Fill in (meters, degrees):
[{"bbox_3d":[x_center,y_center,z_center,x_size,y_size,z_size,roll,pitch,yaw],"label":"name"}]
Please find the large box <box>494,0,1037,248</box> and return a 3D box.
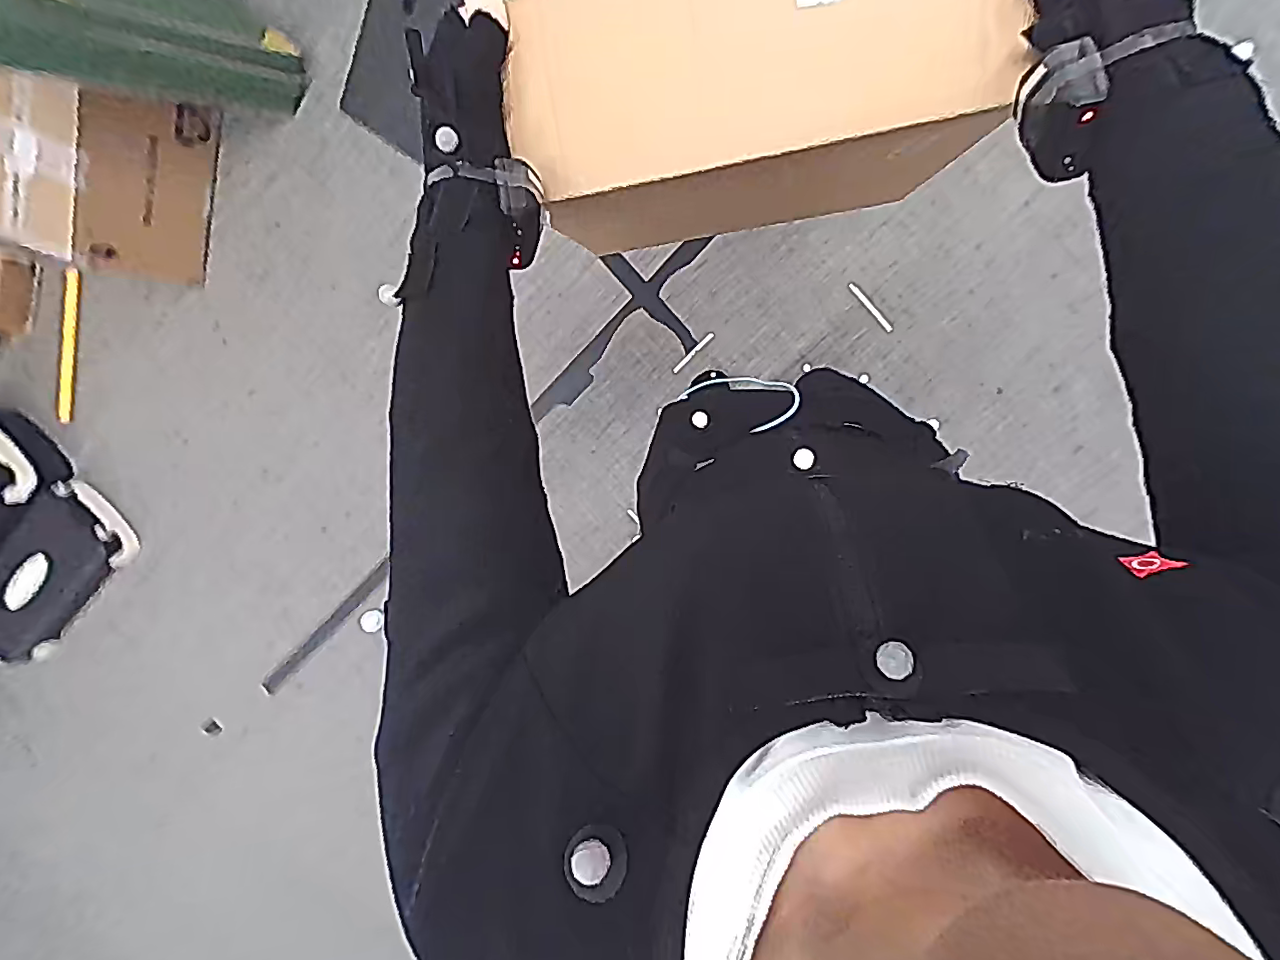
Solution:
[{"bbox_3d":[0.093,-0.451,0.540,0.408,0.320,0.320,-6,105,9],"label":"large box"}]
